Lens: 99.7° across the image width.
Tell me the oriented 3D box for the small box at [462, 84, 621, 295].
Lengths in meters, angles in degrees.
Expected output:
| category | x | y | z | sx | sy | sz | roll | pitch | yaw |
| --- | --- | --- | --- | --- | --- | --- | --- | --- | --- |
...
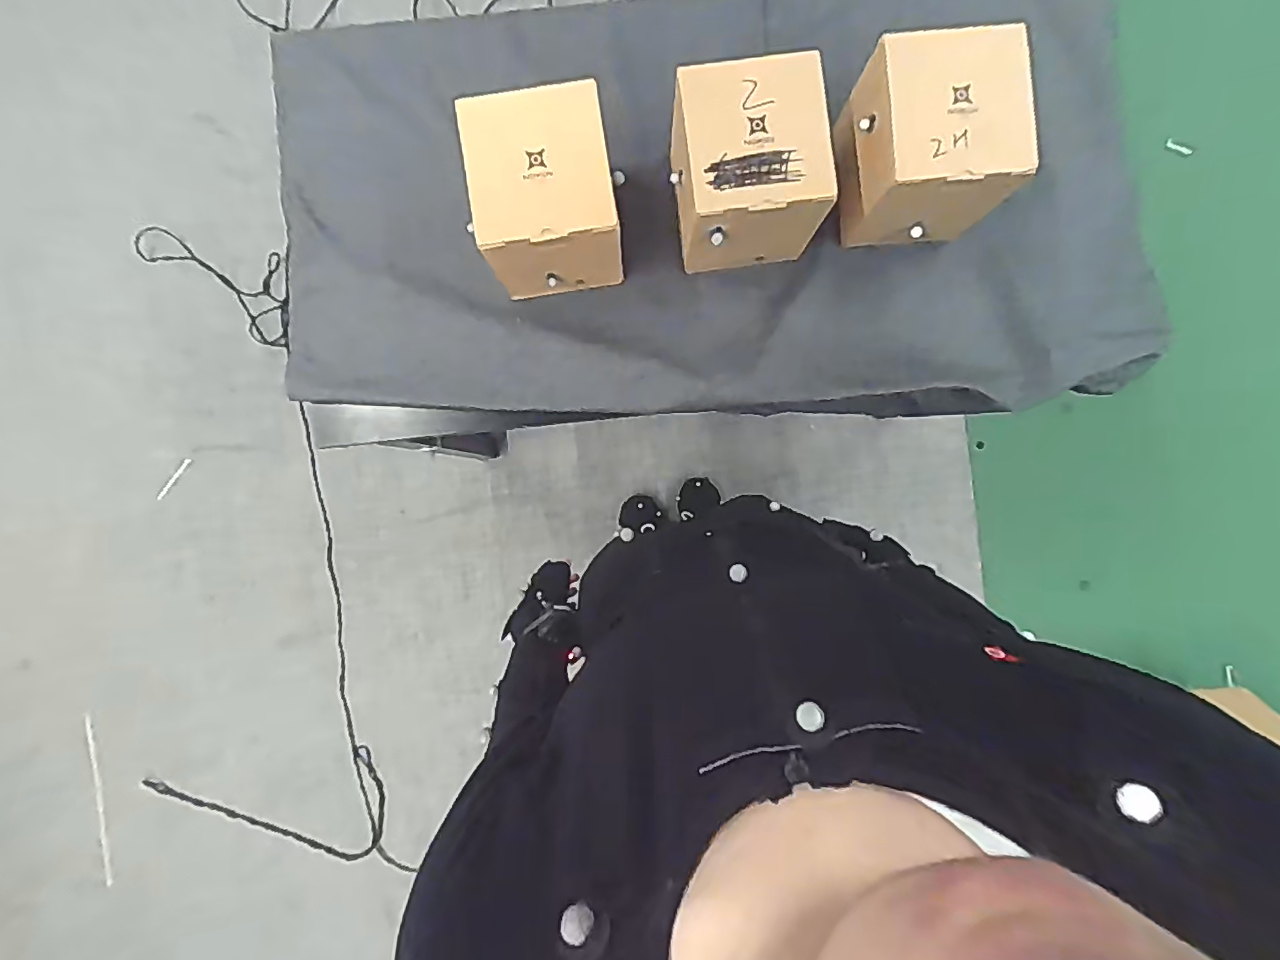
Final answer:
| category | x | y | z | sx | sy | sz | roll | pitch | yaw |
| --- | --- | --- | --- | --- | --- | --- | --- | --- | --- |
| small box | -0.117 | -0.365 | 0.709 | 0.168 | 0.176 | 0.179 | -9 | 90 | 0 |
